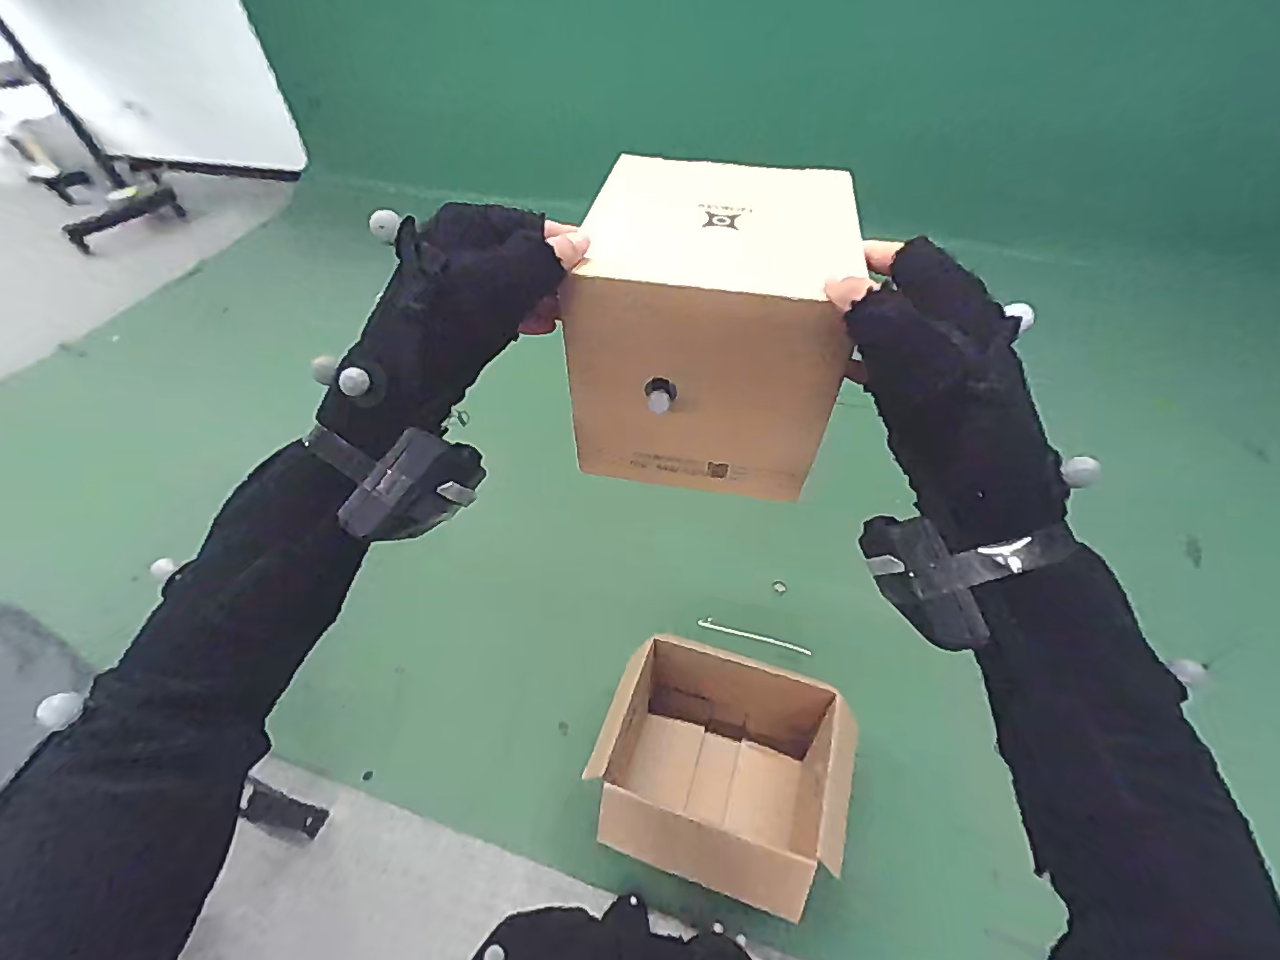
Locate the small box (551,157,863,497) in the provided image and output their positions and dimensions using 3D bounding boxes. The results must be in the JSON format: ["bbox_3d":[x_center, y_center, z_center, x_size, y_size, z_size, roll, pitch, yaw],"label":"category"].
[{"bbox_3d":[0.047,-0.108,0.391,0.168,0.176,0.179,7,49,6],"label":"small box"}]
